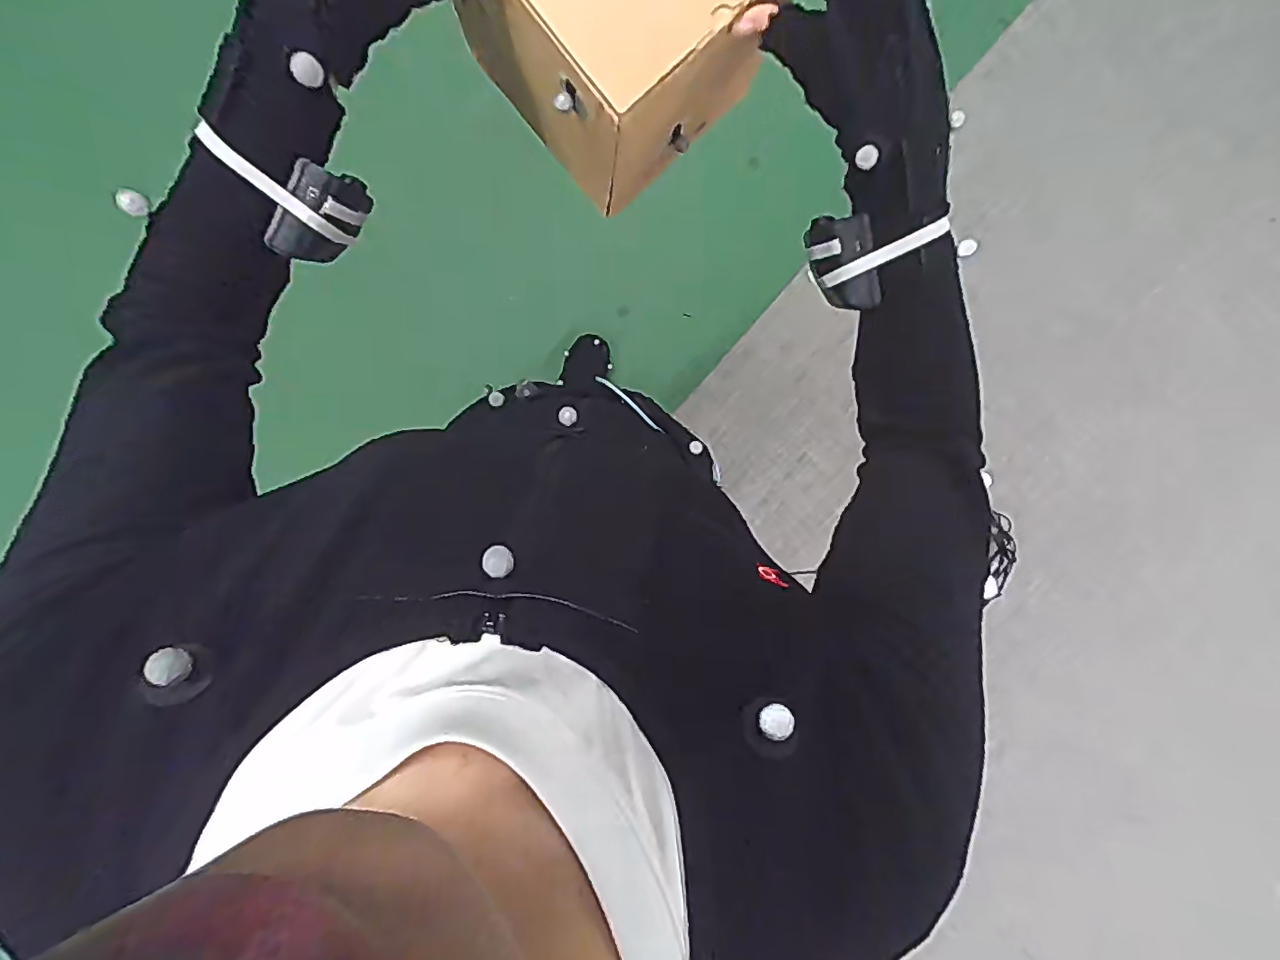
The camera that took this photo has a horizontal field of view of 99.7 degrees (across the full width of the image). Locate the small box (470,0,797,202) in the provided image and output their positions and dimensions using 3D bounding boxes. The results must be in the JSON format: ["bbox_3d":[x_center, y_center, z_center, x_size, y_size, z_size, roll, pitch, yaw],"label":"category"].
[{"bbox_3d":[-0.012,-0.342,0.385,0.168,0.176,0.179,-42,101,0],"label":"small box"}]
